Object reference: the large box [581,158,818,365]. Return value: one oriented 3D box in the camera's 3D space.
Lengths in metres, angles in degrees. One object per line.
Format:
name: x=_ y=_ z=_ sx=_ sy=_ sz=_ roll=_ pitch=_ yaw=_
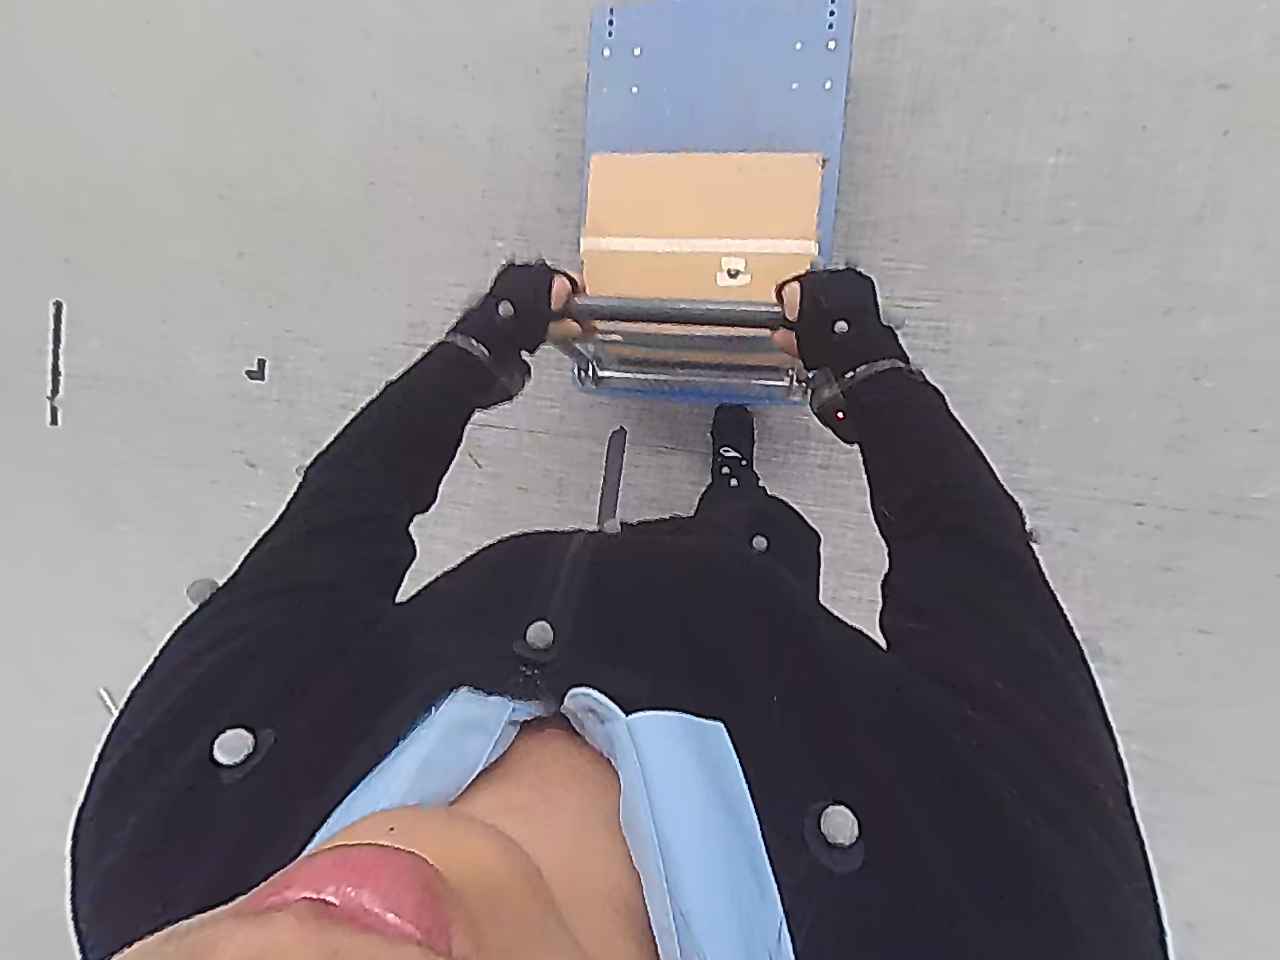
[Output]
large box: x=0.112 y=-0.414 z=1.093 sx=0.408 sy=0.320 sz=0.320 roll=5 pitch=96 yaw=7
